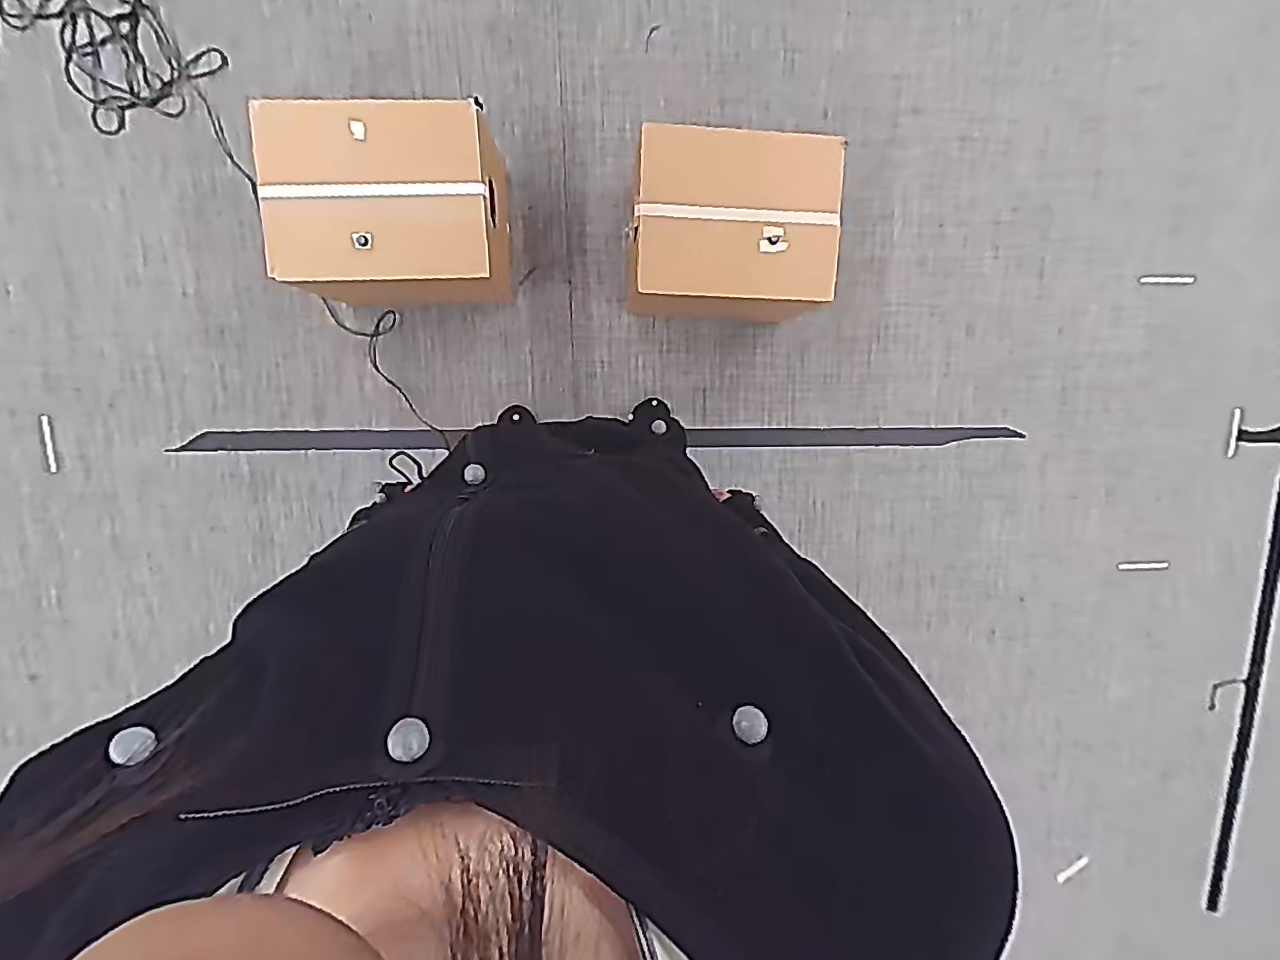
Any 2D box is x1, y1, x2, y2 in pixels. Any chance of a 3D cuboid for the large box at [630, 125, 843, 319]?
[{"bbox_3d":[0.187,-0.547,1.217,0.408,0.320,0.320,1,99,-6],"label":"large box"}]
